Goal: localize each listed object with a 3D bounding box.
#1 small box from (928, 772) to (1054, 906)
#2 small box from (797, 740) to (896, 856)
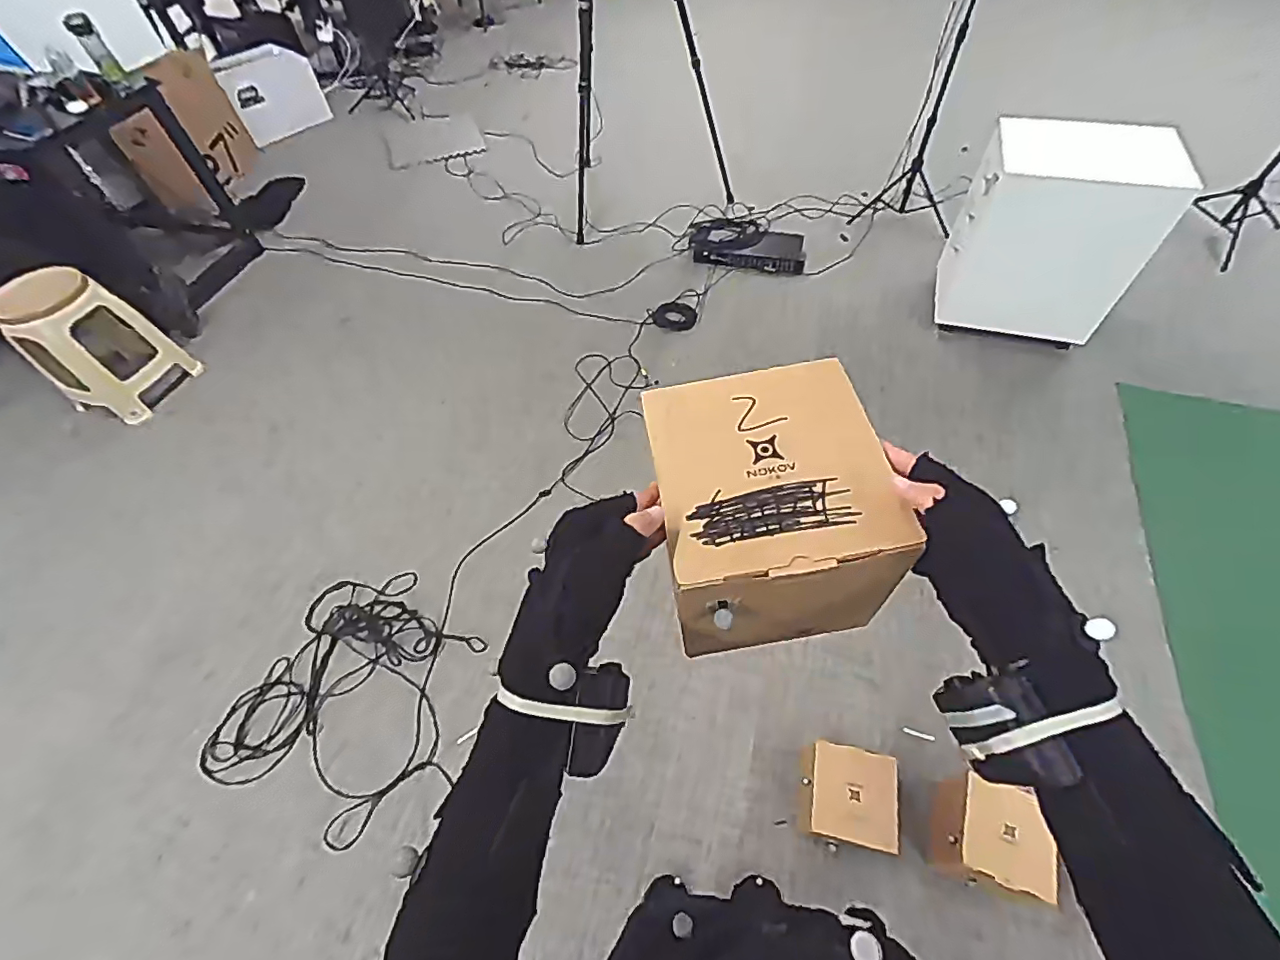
[{"bbox_3d":[0.717,0.737,1.118,0.168,0.176,0.179,17,58,15],"label":"small box"},{"bbox_3d":[0.441,0.688,1.169,0.168,0.176,0.179,8,57,12],"label":"small box"}]
